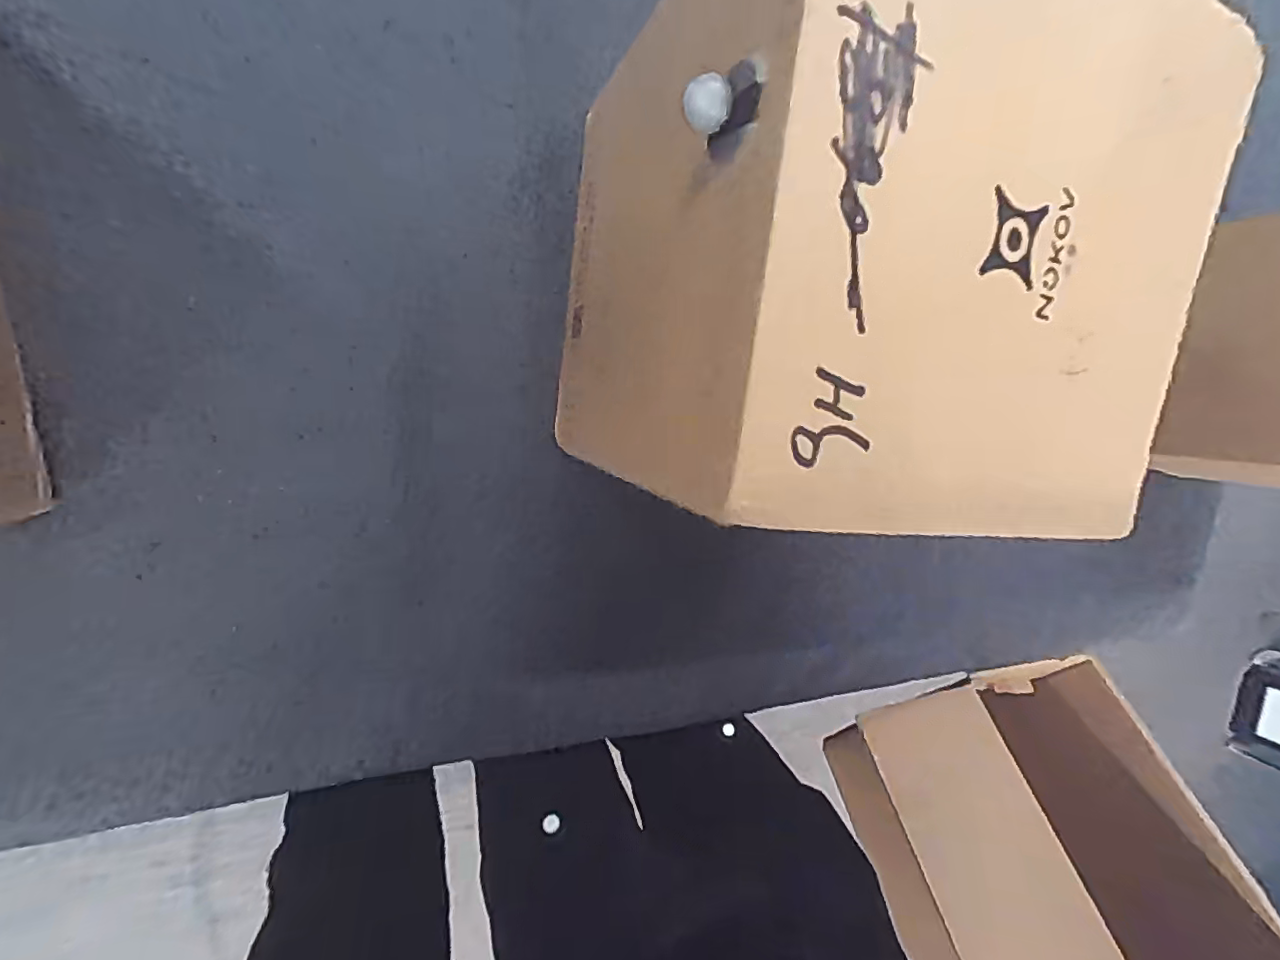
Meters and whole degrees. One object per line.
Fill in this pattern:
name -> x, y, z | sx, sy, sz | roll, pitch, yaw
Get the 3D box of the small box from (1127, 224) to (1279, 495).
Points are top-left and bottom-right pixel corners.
small box -> 0.472, -0.077, 0.392 | 0.179, 0.176, 0.168 | 9, 96, -24
